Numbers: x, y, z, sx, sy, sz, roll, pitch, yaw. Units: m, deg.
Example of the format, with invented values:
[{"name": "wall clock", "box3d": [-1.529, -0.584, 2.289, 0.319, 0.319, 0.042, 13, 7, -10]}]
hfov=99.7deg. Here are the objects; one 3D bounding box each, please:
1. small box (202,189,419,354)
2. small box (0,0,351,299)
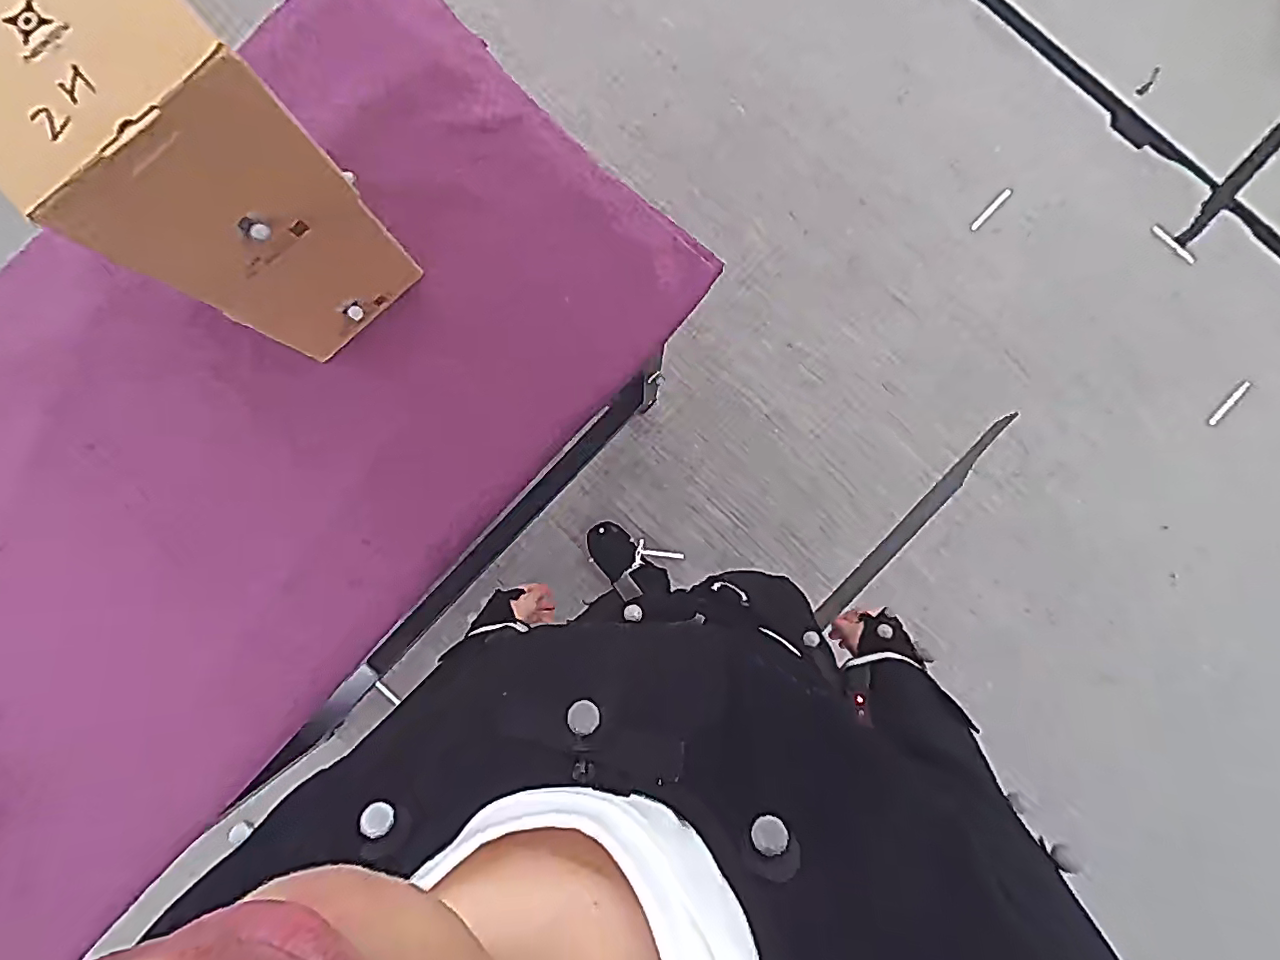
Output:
[{"name": "small box", "box3d": [-0.379, -0.265, 0.579, 0.168, 0.176, 0.179, -43, 89, -3]}, {"name": "small box", "box3d": [-0.374, -0.276, 0.414, 0.168, 0.176, 0.179, -43, 89, -2]}]
